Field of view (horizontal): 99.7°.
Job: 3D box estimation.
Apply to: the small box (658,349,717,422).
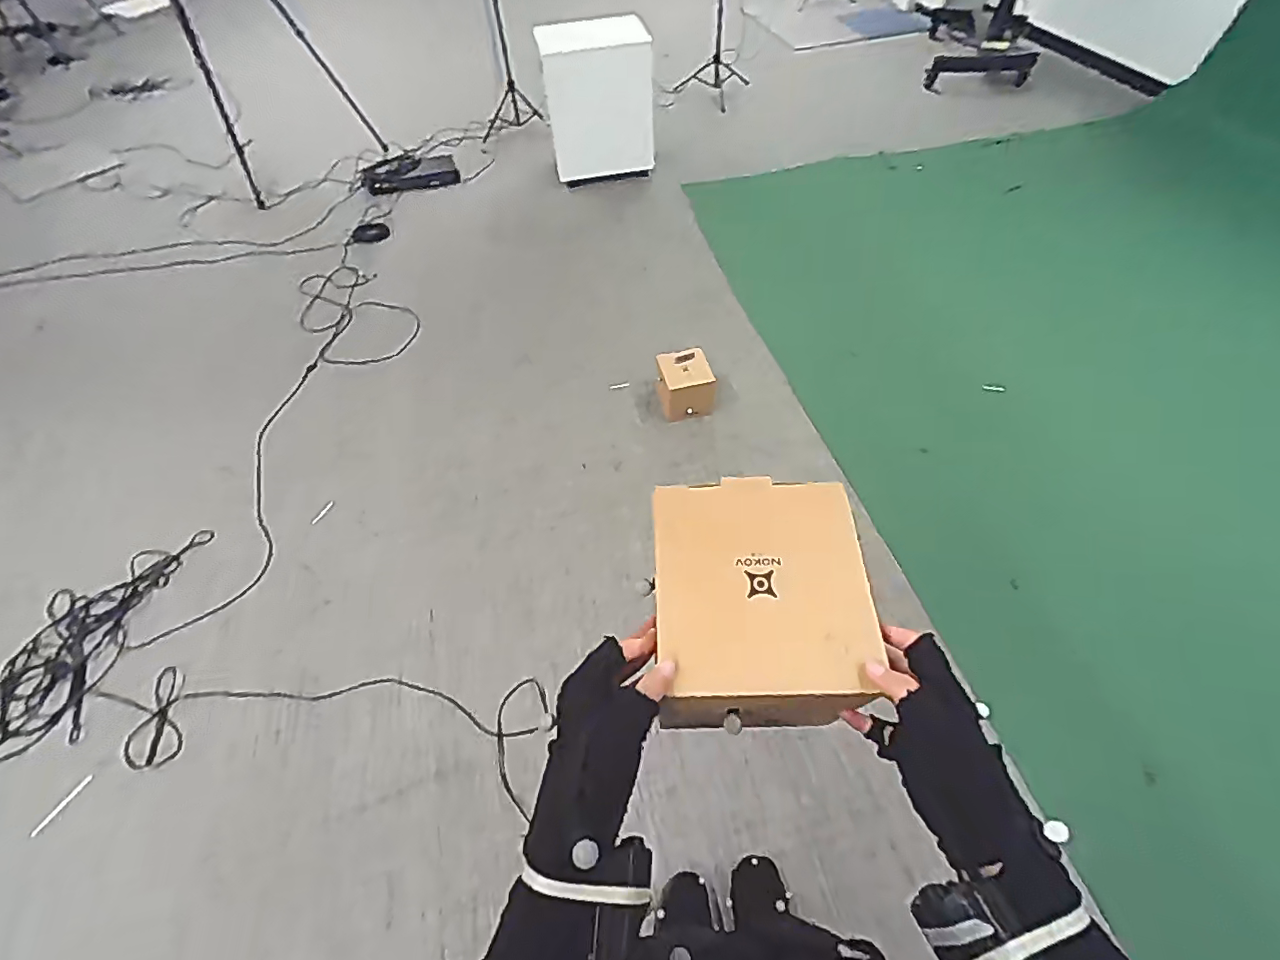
[{"bbox_3d":[0.162,-0.334,1.917,0.168,0.176,0.179,-13,56,-7],"label":"small box"}]
